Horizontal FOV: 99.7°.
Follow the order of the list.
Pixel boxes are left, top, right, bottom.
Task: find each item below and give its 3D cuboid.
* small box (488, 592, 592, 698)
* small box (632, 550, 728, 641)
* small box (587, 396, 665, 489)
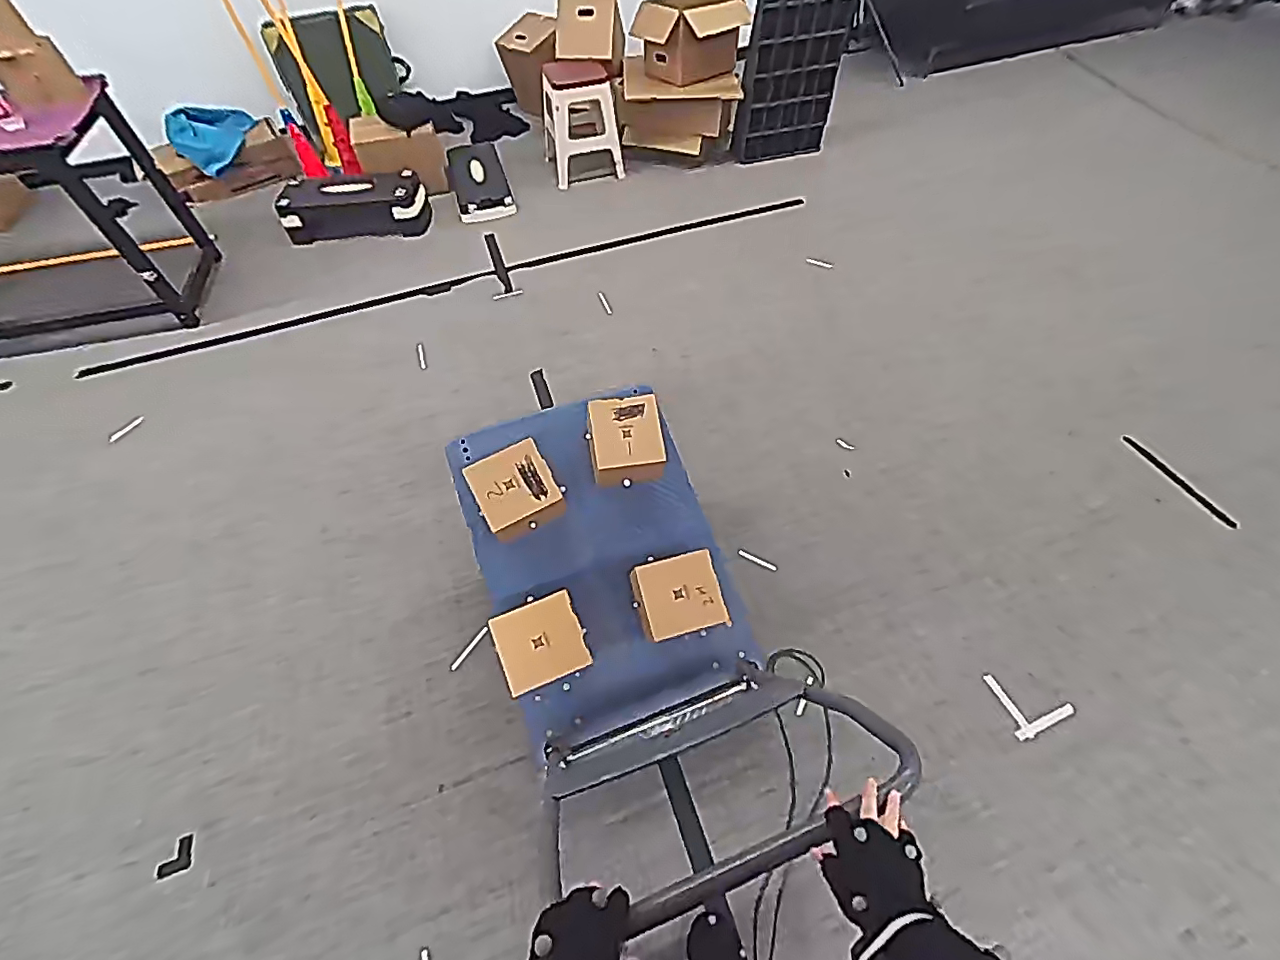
[{"bbox_3d":[-0.216,0.364,1.200,0.179,0.176,0.168,-21,77,-13],"label":"small box"},{"bbox_3d":[0.083,0.274,1.258,0.179,0.176,0.168,-14,76,-10],"label":"small box"},{"bbox_3d":[-0.041,-0.090,1.354,0.168,0.176,0.179,-8,75,-8],"label":"small box"}]
